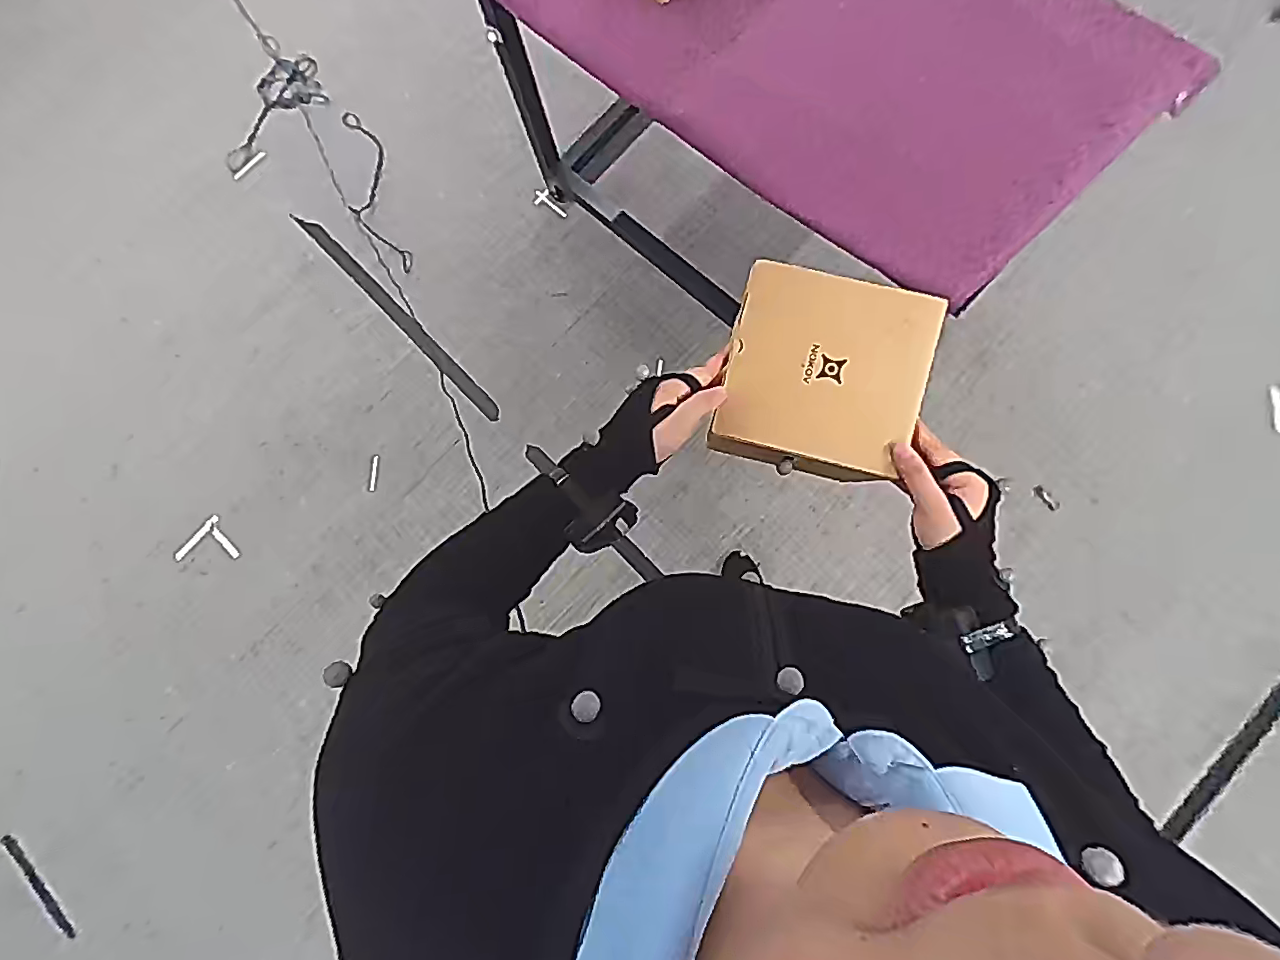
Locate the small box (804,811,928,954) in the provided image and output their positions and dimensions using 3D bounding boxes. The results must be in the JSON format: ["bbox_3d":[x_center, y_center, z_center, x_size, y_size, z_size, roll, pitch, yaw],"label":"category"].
[{"bbox_3d":[0.503,0.898,1.235,0.179,0.176,0.168,40,86,9],"label":"small box"}]

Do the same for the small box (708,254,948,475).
[{"bbox_3d":[0.176,-0.105,0.562,0.179,0.176,0.168,14,91,6],"label":"small box"}]
